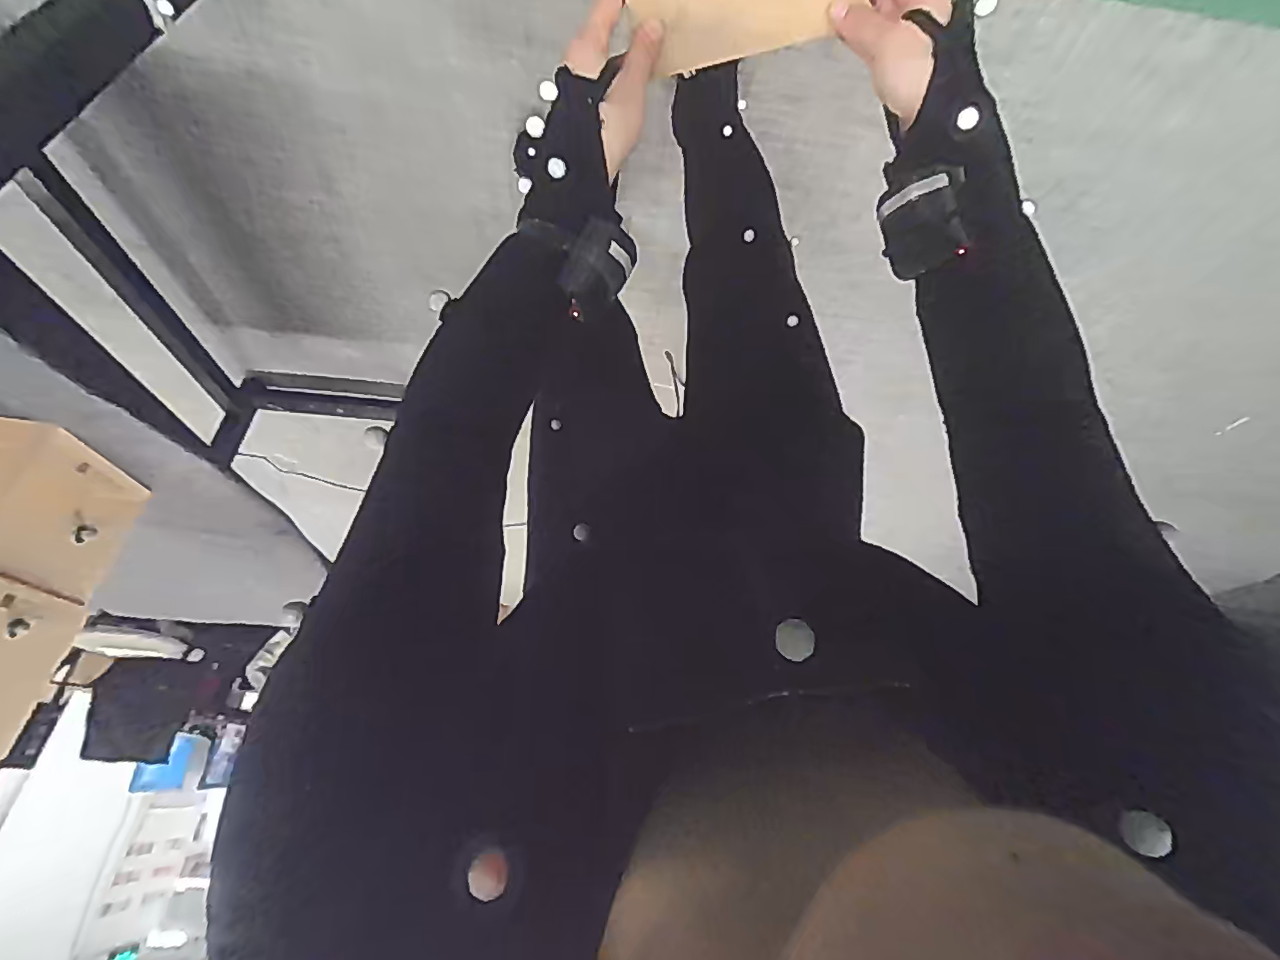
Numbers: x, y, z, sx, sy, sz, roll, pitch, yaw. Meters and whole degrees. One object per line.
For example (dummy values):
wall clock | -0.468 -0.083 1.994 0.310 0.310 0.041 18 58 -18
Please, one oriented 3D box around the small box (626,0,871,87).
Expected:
small box | 0.068 -0.434 0.392 0.179 0.176 0.168 -6 149 10

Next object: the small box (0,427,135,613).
small box | -0.743 0.043 0.620 0.179 0.176 0.168 7 150 -4
